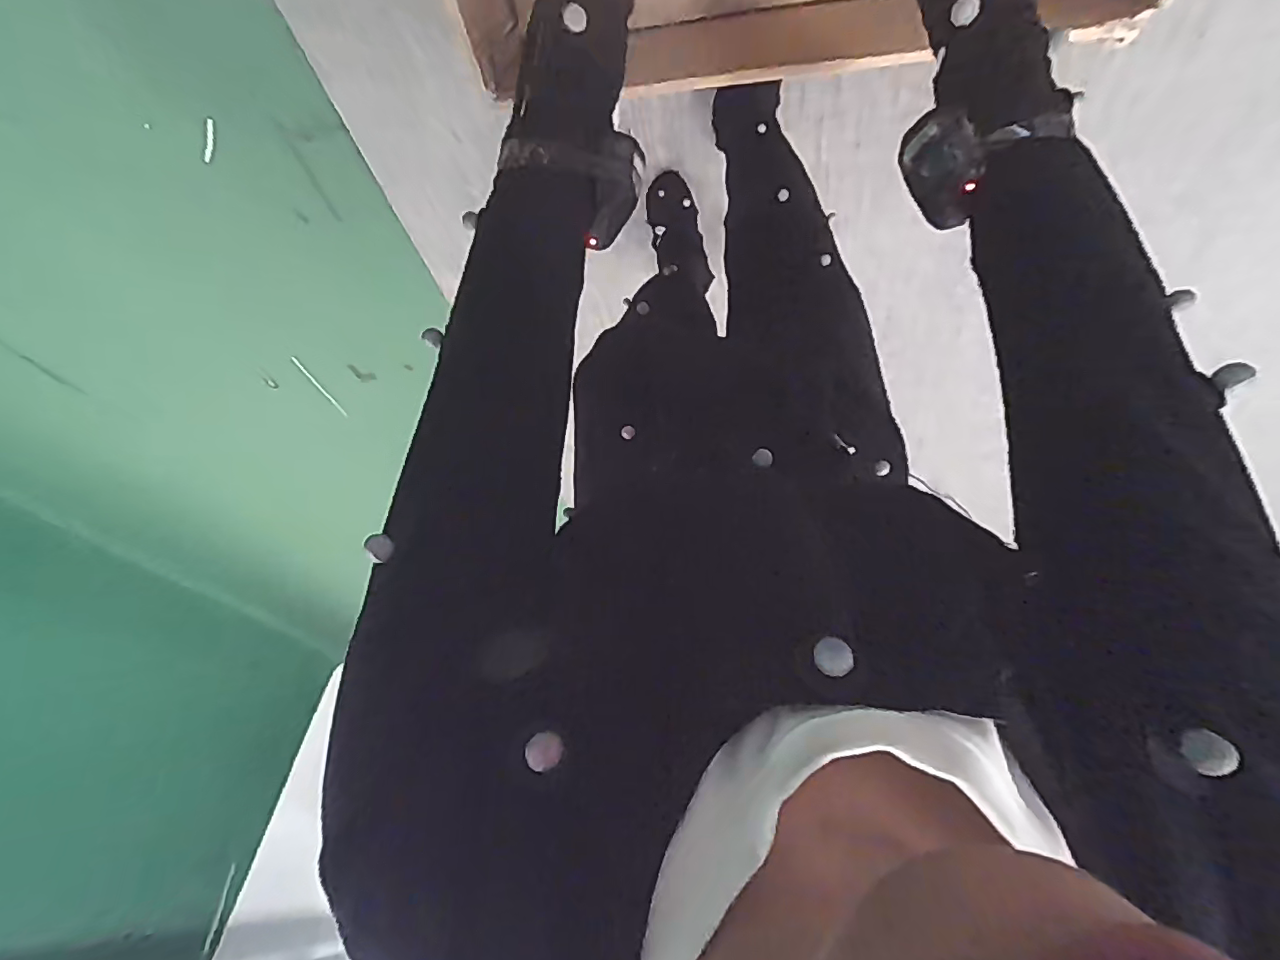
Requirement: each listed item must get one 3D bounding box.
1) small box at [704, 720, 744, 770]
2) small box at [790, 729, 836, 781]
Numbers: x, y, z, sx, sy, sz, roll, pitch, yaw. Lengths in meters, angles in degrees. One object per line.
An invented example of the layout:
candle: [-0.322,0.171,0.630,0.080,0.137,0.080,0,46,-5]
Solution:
small box: [0.375,1.170,2.385,0.168,0.176,0.179,0,146,13]
small box: [0.735,1.168,2.299,0.179,0.176,0.168,-2,146,18]
